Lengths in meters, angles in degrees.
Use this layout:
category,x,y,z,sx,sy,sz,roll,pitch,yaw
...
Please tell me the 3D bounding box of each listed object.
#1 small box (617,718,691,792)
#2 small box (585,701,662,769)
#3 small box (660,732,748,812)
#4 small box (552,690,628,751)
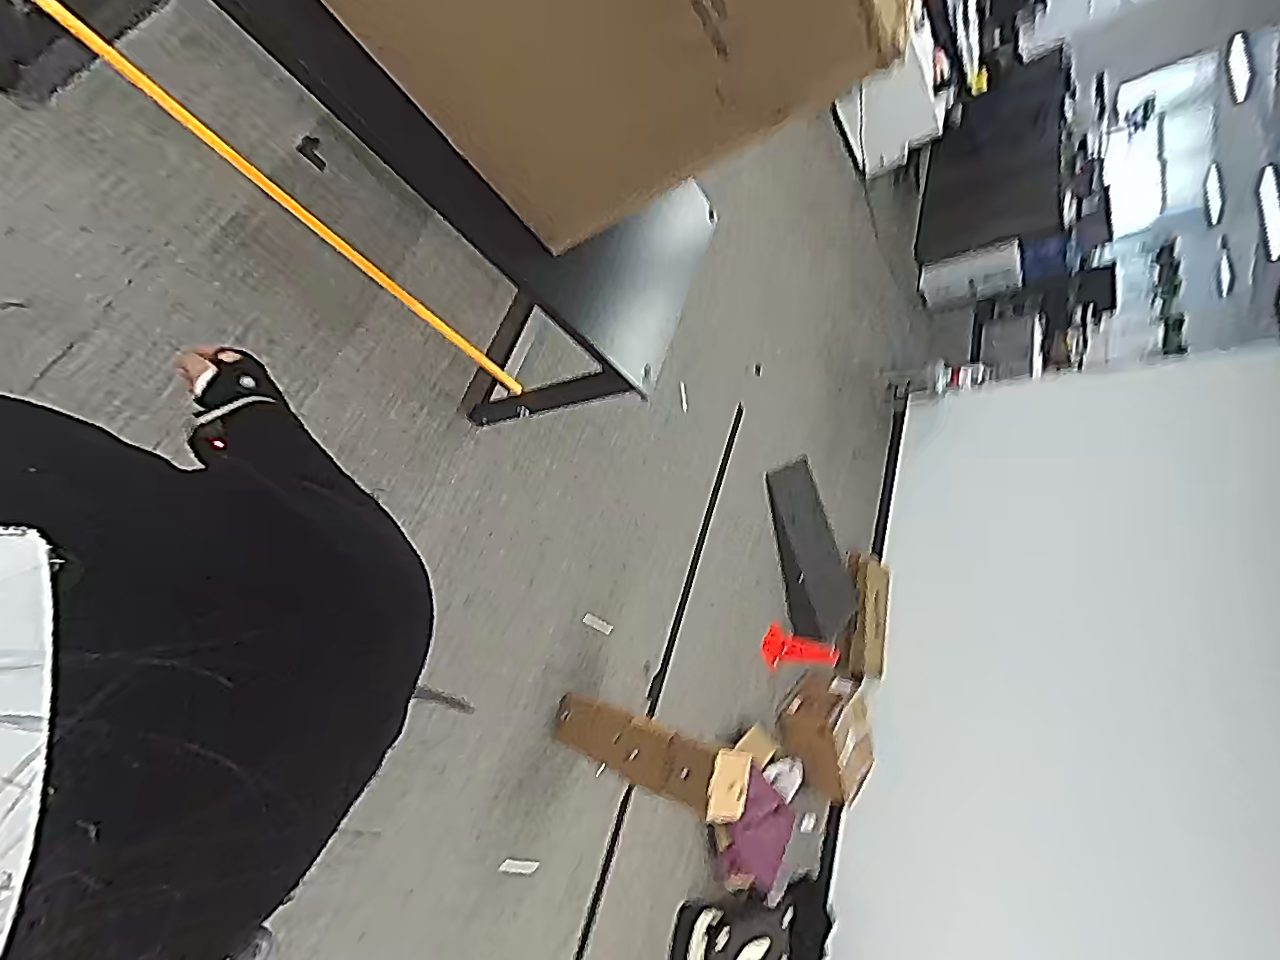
category,x,y,z,sx,sy,sz,roll,pitch,yaw
small box,0.058,0.841,1.659,0.179,0.176,0.168,29,66,-41
small box,-0.056,0.843,1.778,0.168,0.176,0.179,34,64,-40
small box,0.182,0.834,1.552,0.179,0.176,0.168,31,66,-41
small box,-0.175,0.844,1.891,0.179,0.176,0.168,31,65,-40
